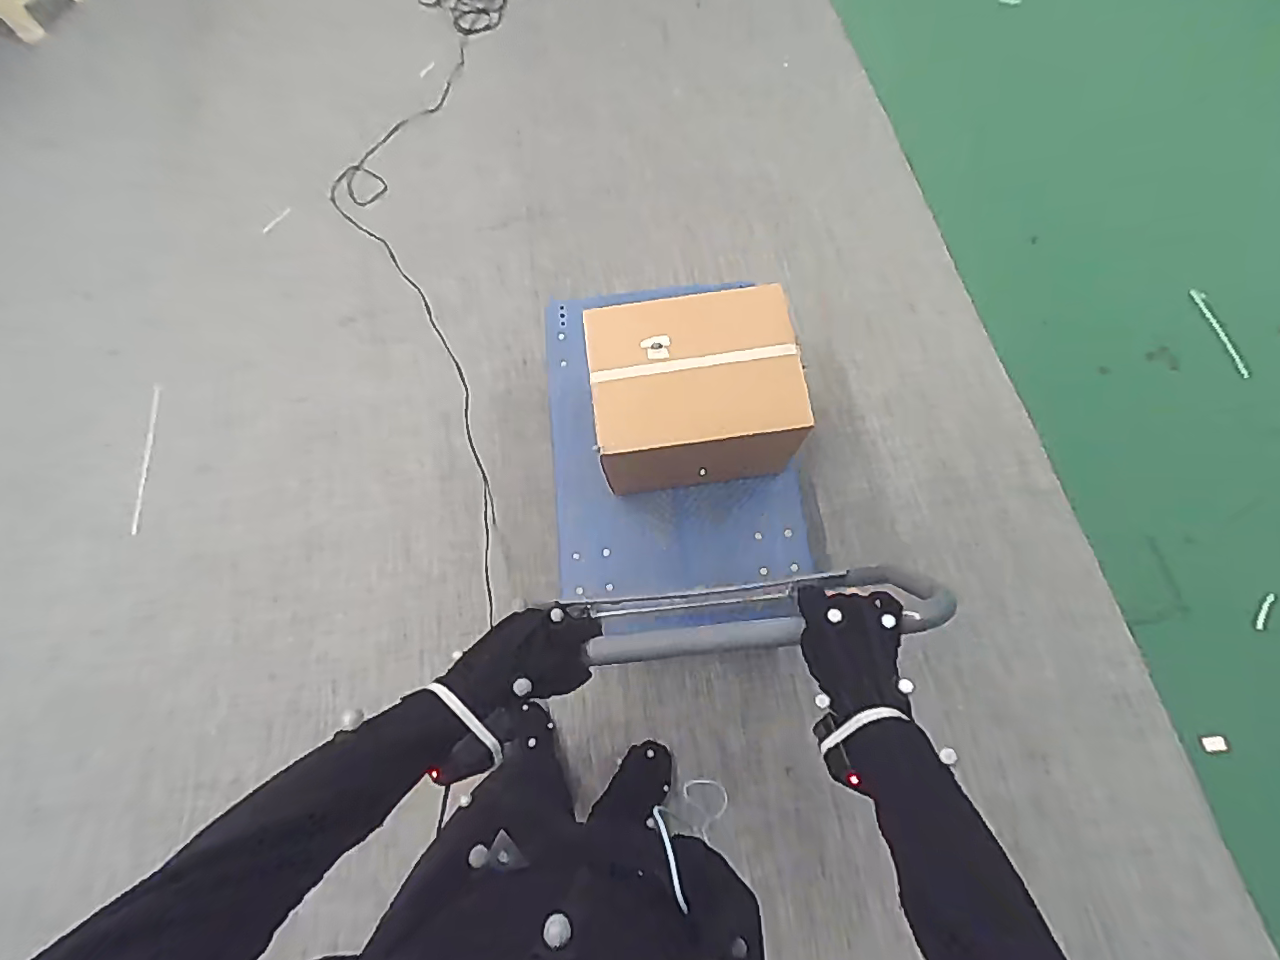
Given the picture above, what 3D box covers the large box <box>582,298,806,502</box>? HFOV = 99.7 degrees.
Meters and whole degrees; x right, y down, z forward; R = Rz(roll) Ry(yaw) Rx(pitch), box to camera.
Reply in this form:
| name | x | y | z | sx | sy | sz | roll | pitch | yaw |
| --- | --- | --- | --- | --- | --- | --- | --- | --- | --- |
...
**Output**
| name | x | y | z | sx | sy | sz | roll | pitch | yaw |
| --- | --- | --- | --- | --- | --- | --- | --- | --- | --- |
| large box | 0.108 | -0.156 | 1.203 | 0.408 | 0.320 | 0.320 | -8 | 72 | 2 |
